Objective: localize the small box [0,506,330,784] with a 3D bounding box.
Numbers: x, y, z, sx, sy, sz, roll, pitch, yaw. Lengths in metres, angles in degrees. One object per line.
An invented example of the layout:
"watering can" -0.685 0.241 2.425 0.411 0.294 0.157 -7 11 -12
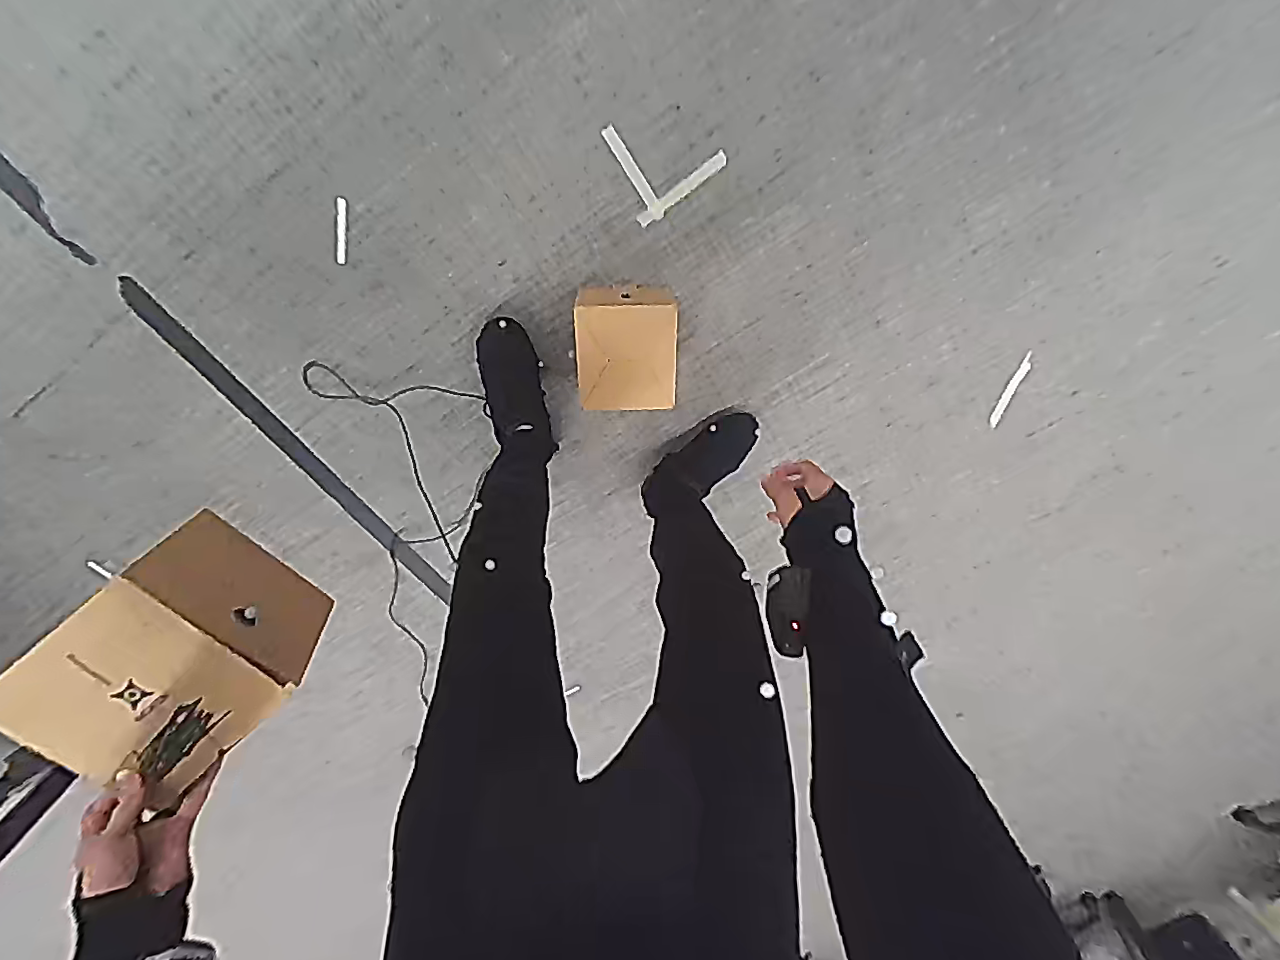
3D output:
"small box" -0.459 0.155 0.553 0.168 0.176 0.179 -41 114 -2

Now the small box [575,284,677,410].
"small box" -0.024 -0.240 0.959 0.168 0.176 0.179 -2 120 -1
